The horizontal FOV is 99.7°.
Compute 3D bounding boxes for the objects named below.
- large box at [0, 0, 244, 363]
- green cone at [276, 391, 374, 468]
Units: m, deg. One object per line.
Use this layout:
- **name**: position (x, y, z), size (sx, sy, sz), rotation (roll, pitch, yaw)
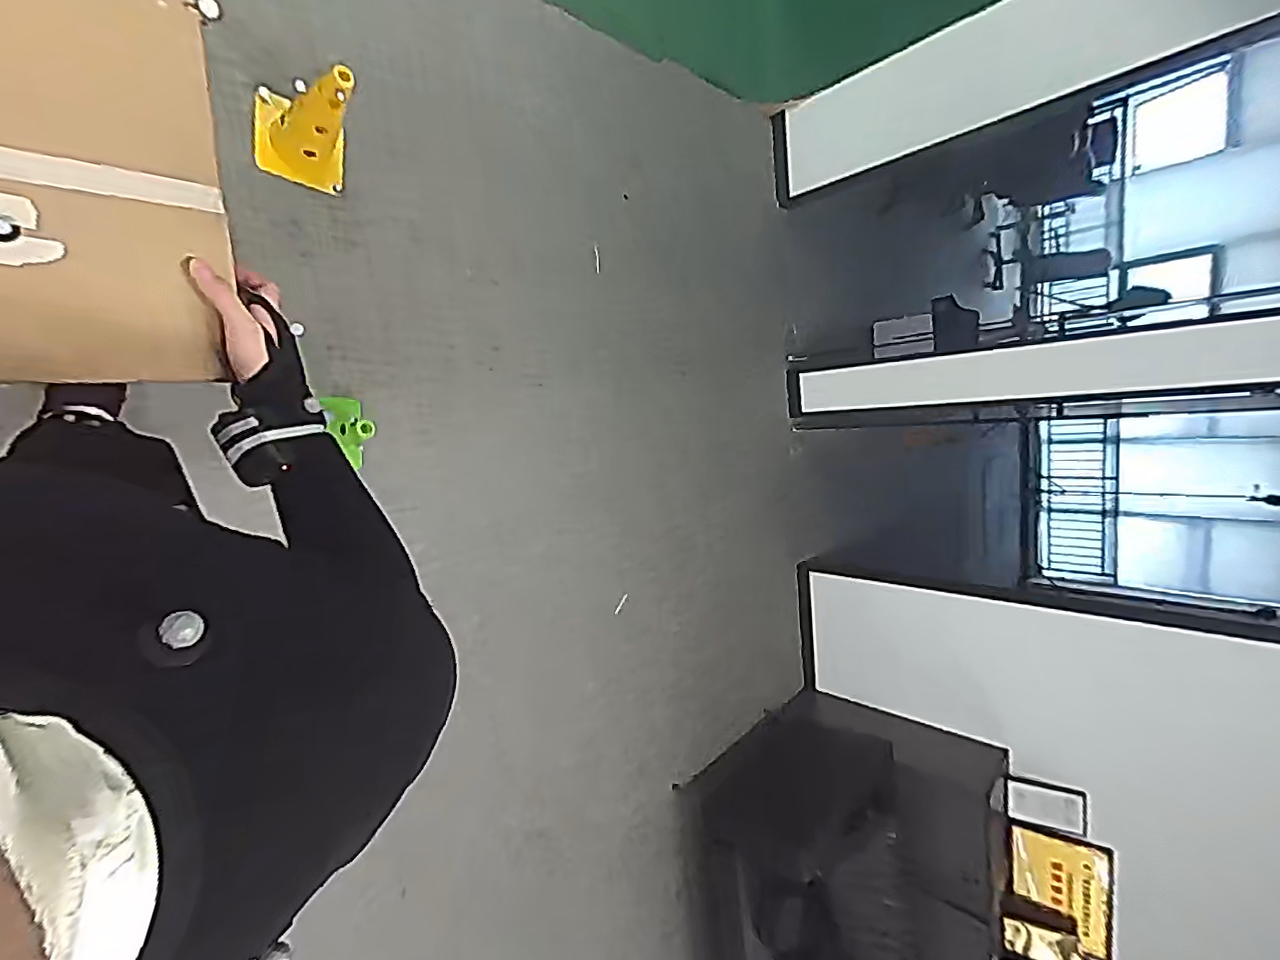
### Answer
- **large box**: position (-0.620, -0.264, 0.441), size (0.408, 0.320, 0.320), rotation (-12, 112, -45)
- **green cone**: position (-0.743, -0.134, 1.344), size (0.200, 0.368, 0.202), rotation (-4, 94, -46)
